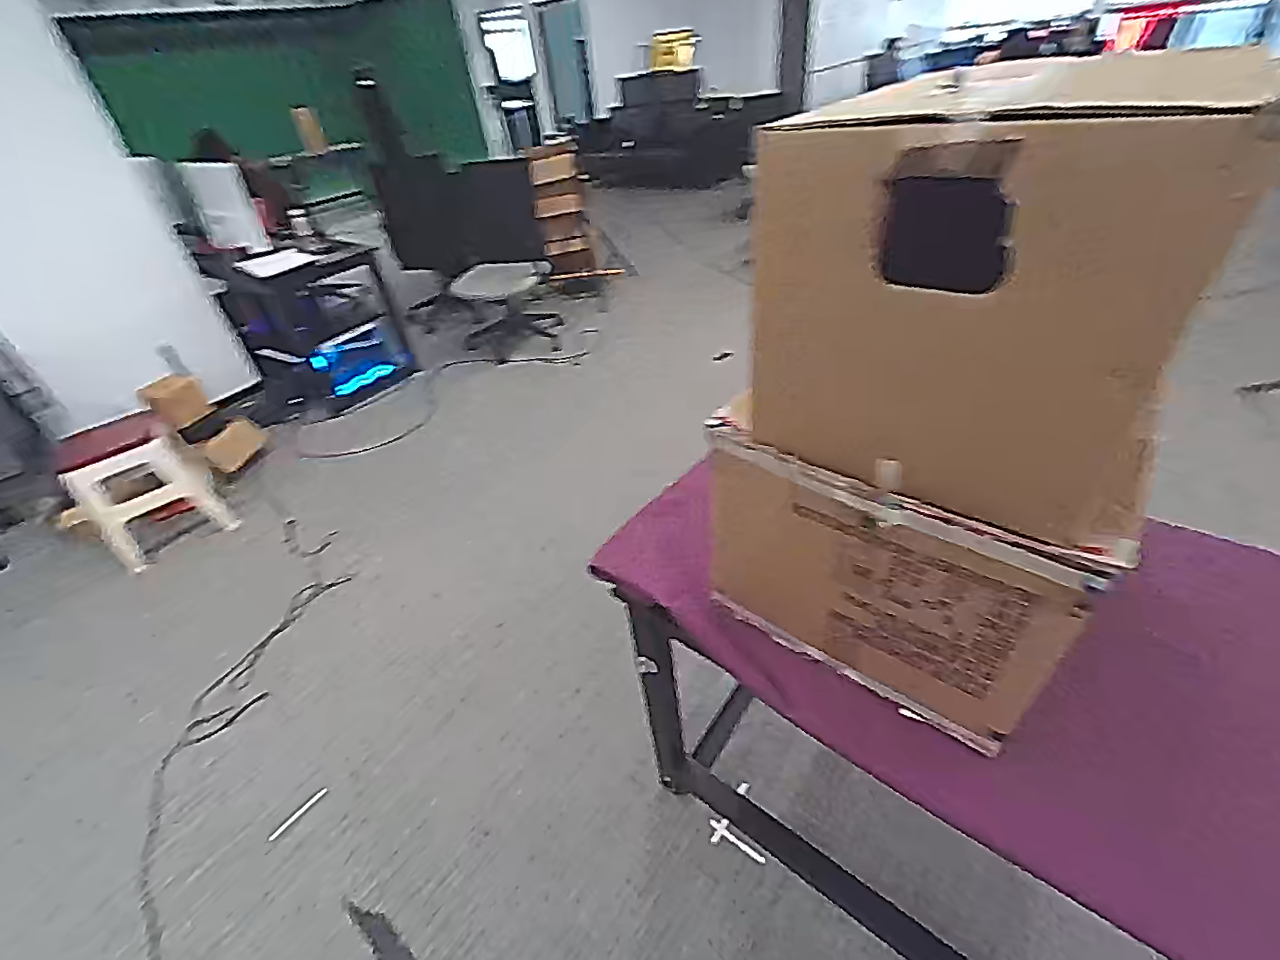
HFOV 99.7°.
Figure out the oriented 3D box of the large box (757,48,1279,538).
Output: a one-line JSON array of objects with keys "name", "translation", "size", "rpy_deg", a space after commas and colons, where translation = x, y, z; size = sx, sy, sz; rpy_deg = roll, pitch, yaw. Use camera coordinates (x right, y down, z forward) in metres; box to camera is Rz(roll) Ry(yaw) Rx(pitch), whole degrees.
[{"name": "large box", "translation": [0.350, -0.217, 0.555], "size": [0.320, 0.320, 0.408], "rpy_deg": [21, 47, 33]}]
